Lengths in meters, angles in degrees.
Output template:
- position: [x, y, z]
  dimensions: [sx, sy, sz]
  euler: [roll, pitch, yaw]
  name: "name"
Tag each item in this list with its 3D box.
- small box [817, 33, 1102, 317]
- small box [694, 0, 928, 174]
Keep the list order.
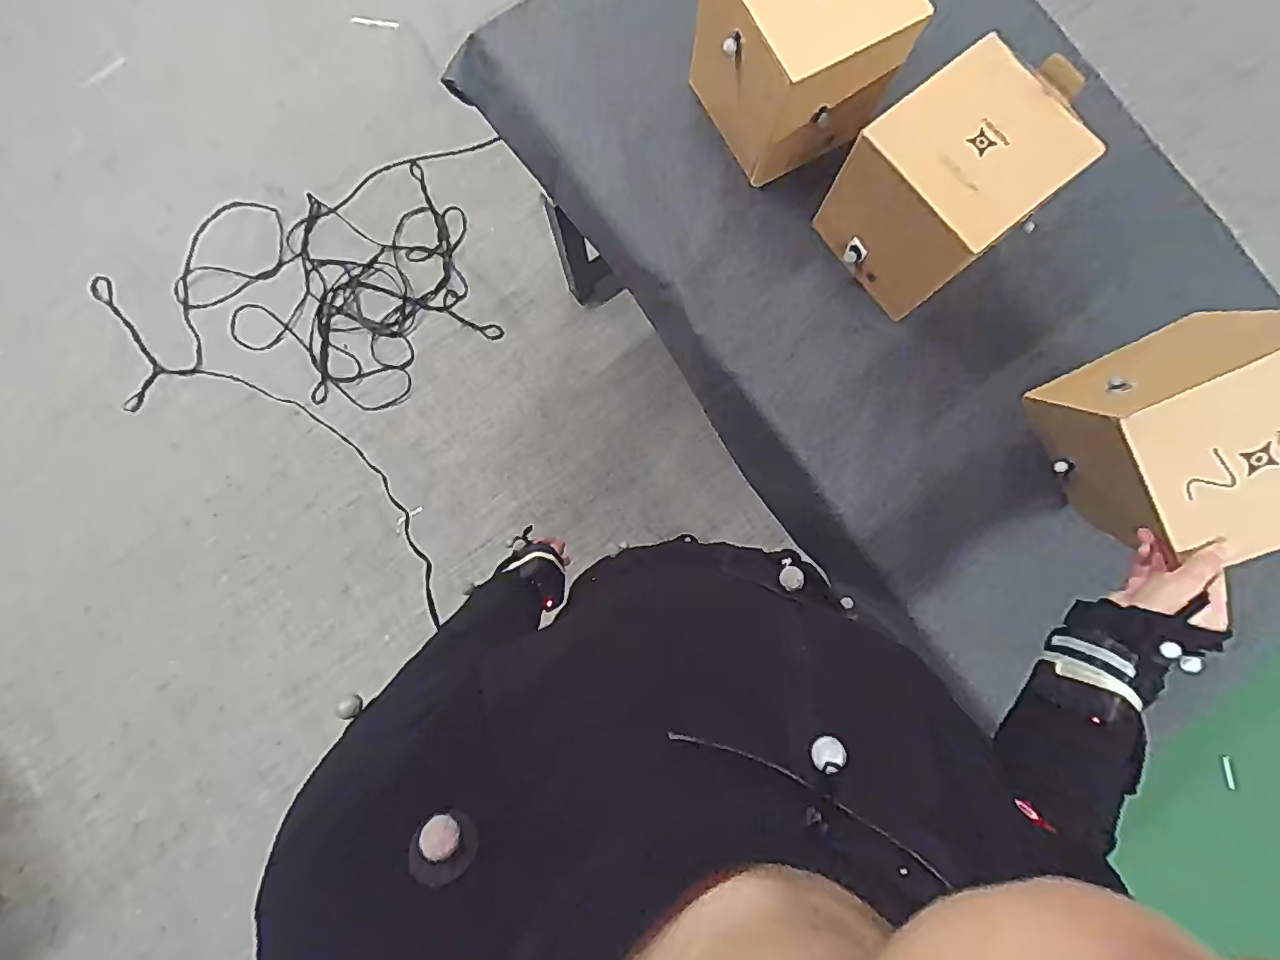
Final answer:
- position: [0.332, -0.320, 0.602]
  dimensions: [0.179, 0.176, 0.168]
  euler: [-40, 85, -4]
  name: "small box"
- position: [0.177, -0.491, 0.618]
  dimensions: [0.168, 0.176, 0.179]
  euler: [-29, 85, -4]
  name: "small box"
